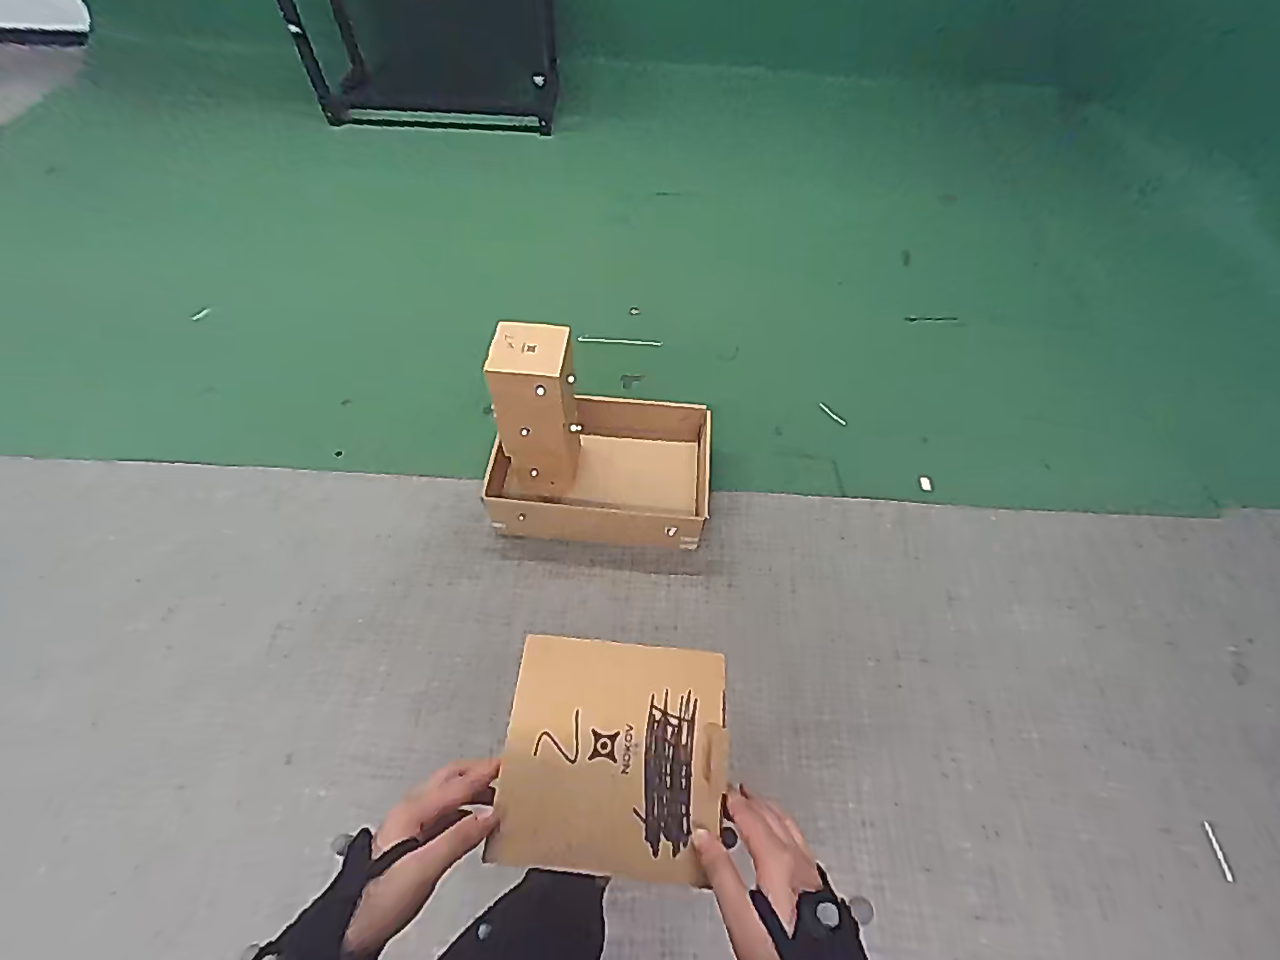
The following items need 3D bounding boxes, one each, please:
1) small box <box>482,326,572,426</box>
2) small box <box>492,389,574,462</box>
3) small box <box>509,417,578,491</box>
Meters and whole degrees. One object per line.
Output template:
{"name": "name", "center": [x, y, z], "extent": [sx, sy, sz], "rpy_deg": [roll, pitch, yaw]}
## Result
{"name": "small box", "center": [-0.264, -0.248, 1.317], "extent": [0.179, 0.176, 0.168], "rpy_deg": [4, 57, 1]}
{"name": "small box", "center": [-0.279, -0.162, 1.457], "extent": [0.179, 0.176, 0.168], "rpy_deg": [5, 58, 0]}
{"name": "small box", "center": [-0.278, -0.081, 1.600], "extent": [0.168, 0.176, 0.179], "rpy_deg": [4, 58, 1]}
